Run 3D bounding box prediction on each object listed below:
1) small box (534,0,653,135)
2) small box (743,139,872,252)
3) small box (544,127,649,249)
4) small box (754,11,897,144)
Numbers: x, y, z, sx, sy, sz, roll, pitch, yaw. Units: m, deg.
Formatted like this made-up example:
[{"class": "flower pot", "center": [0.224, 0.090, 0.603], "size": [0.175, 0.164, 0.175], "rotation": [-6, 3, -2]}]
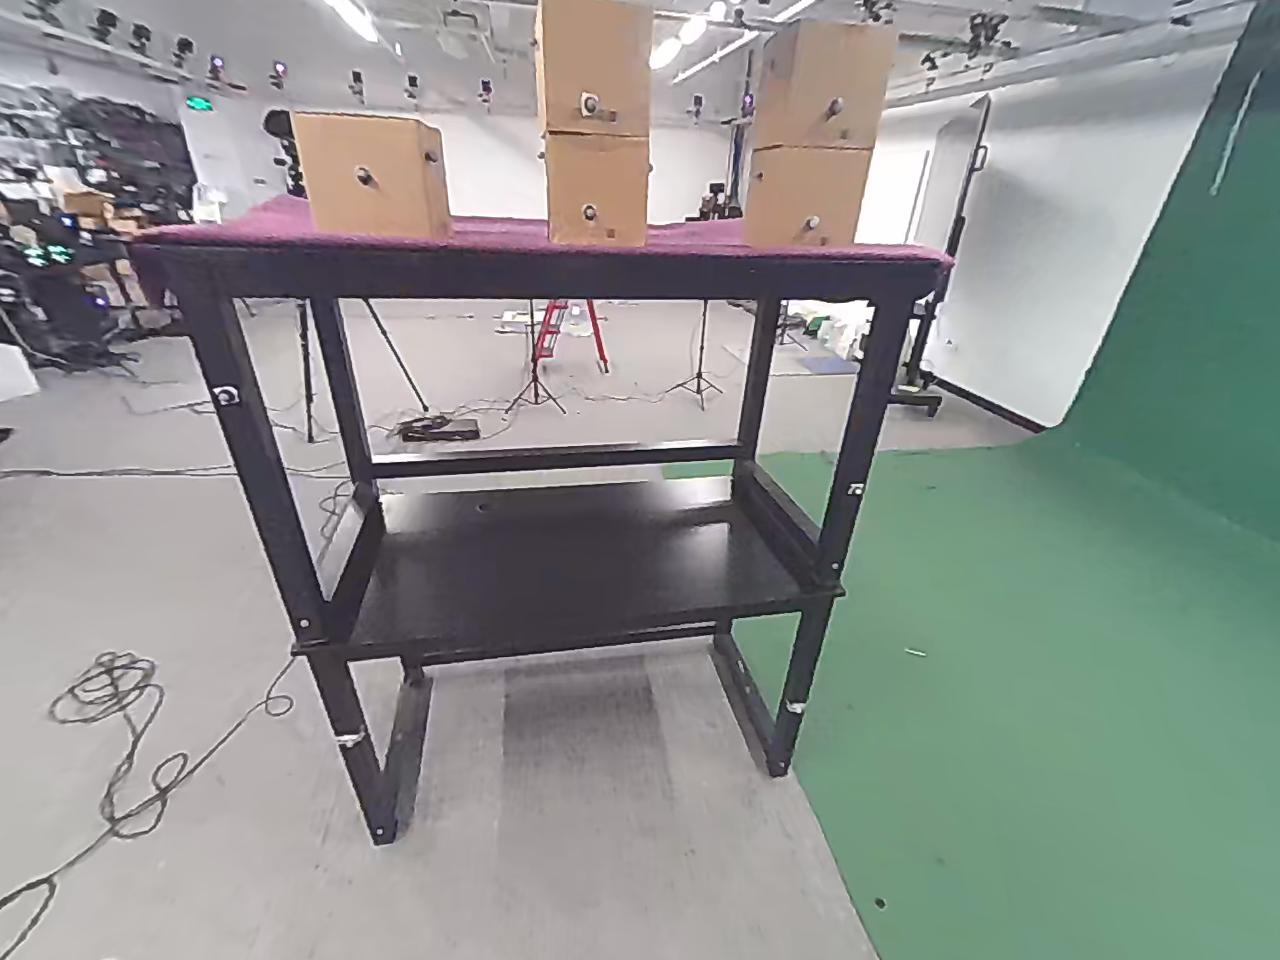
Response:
[{"class": "small box", "center": [-0.080, -0.648, 0.868], "size": [0.168, 0.176, 0.179], "rotation": [-6, 30, -11]}, {"class": "small box", "center": [0.300, -0.530, 1.012], "size": [0.168, 0.176, 0.179], "rotation": [-2, 30, -6]}, {"class": "small box", "center": [-0.080, -0.507, 0.949], "size": [0.168, 0.176, 0.179], "rotation": [-2, 28, -7]}, {"class": "small box", "center": [0.305, -0.675, 0.934], "size": [0.168, 0.176, 0.179], "rotation": [-3, 29, -6]}]
